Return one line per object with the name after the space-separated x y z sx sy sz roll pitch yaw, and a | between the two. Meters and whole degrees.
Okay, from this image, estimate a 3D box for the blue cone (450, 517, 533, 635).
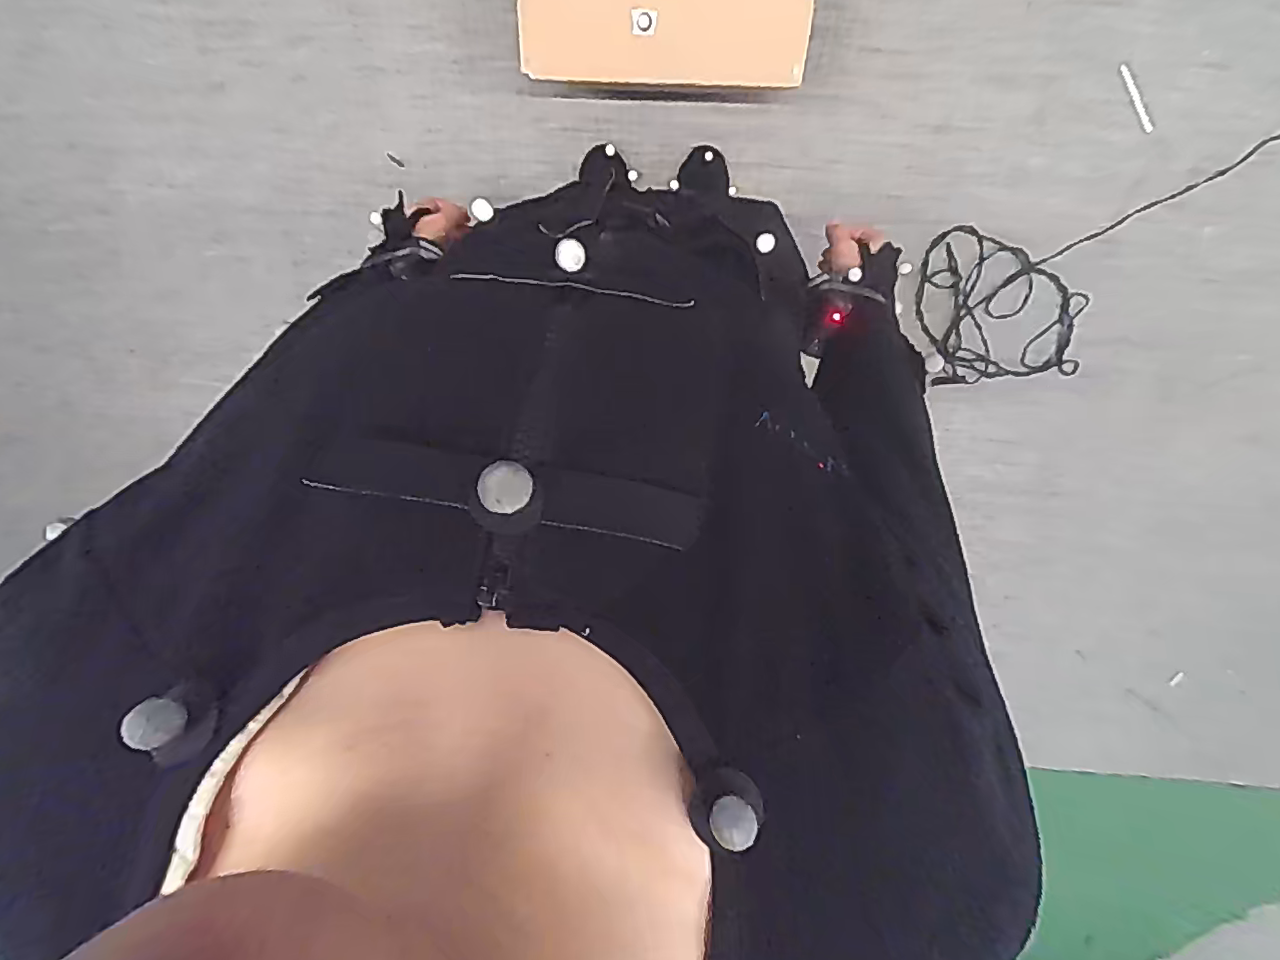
-0.437 0.280 1.515 0.192 0.380 0.193 5 122 2 | blue cone
